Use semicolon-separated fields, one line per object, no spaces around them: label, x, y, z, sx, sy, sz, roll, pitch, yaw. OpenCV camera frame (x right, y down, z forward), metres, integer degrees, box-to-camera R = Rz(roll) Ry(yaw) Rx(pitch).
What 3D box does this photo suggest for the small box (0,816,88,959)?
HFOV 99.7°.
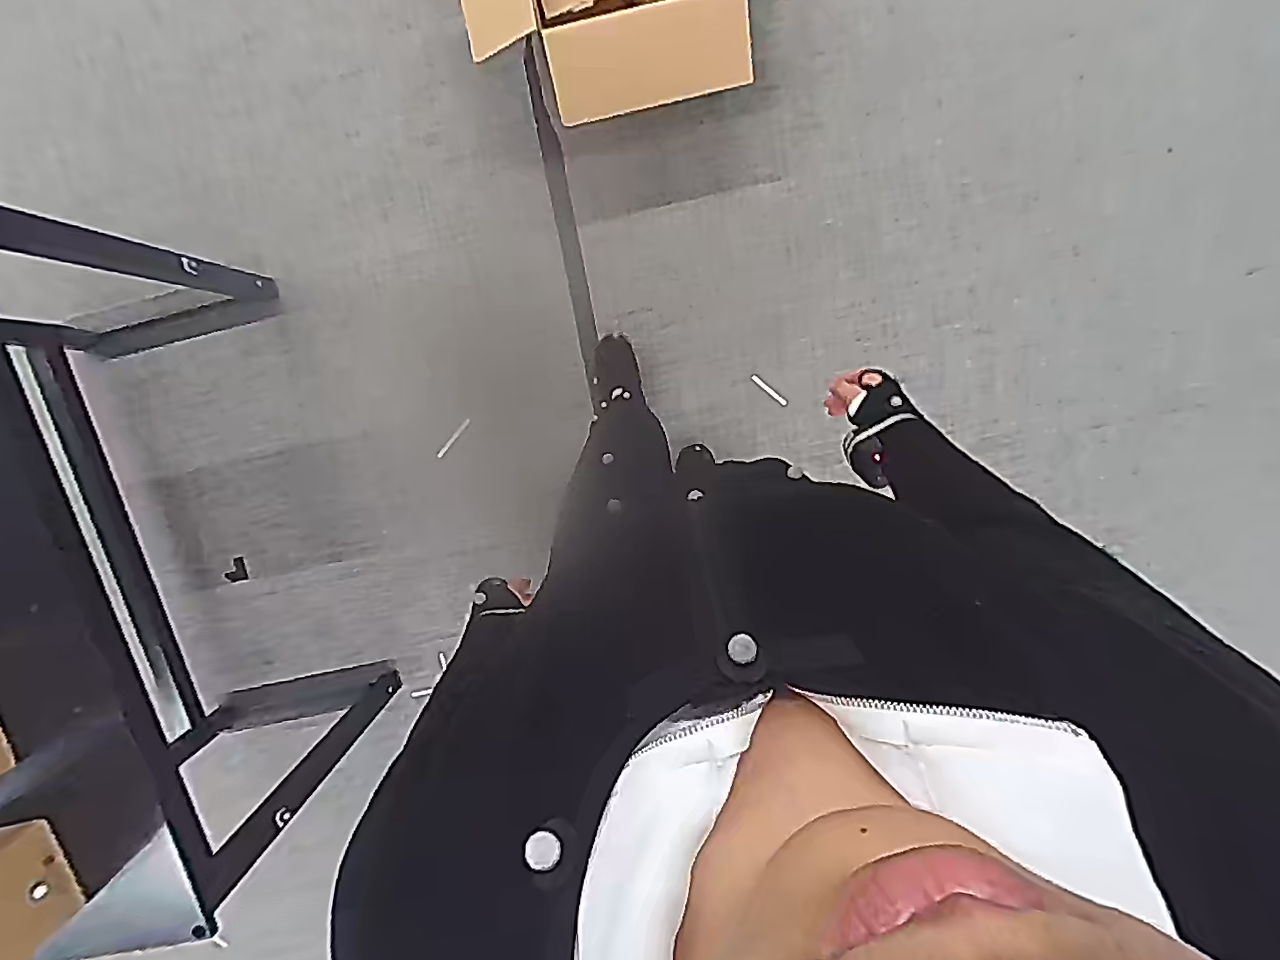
small box;-1.005;0.642;0.801;0.179;0.176;0.168;-14;100;3
